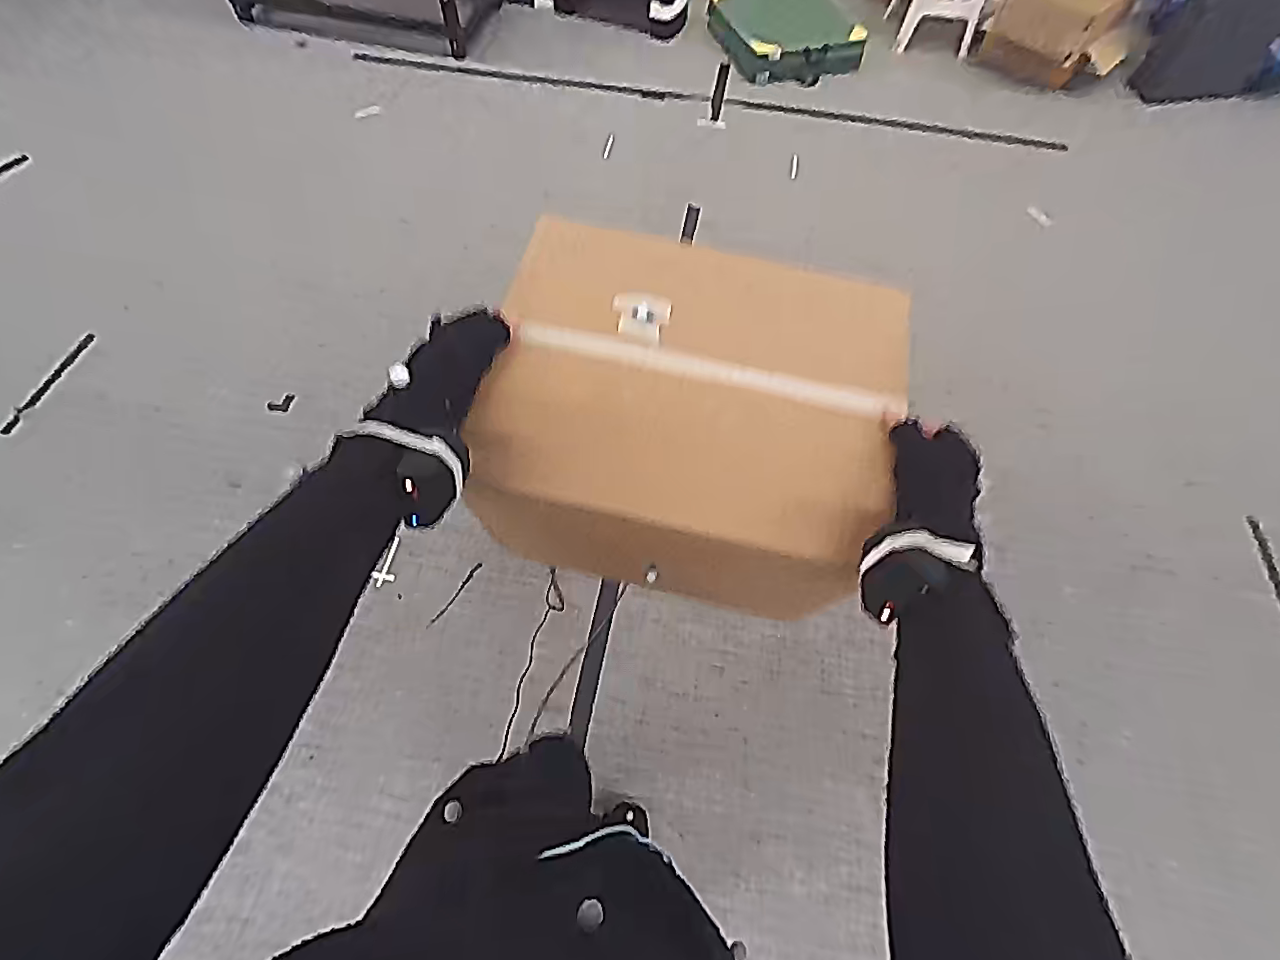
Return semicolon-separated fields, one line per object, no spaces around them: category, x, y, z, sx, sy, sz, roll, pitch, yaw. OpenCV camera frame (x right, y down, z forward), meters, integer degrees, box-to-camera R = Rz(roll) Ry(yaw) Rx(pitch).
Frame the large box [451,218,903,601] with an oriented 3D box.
large box;0.052;-0.058;0.668;0.408;0.320;0.320;13;69;4
